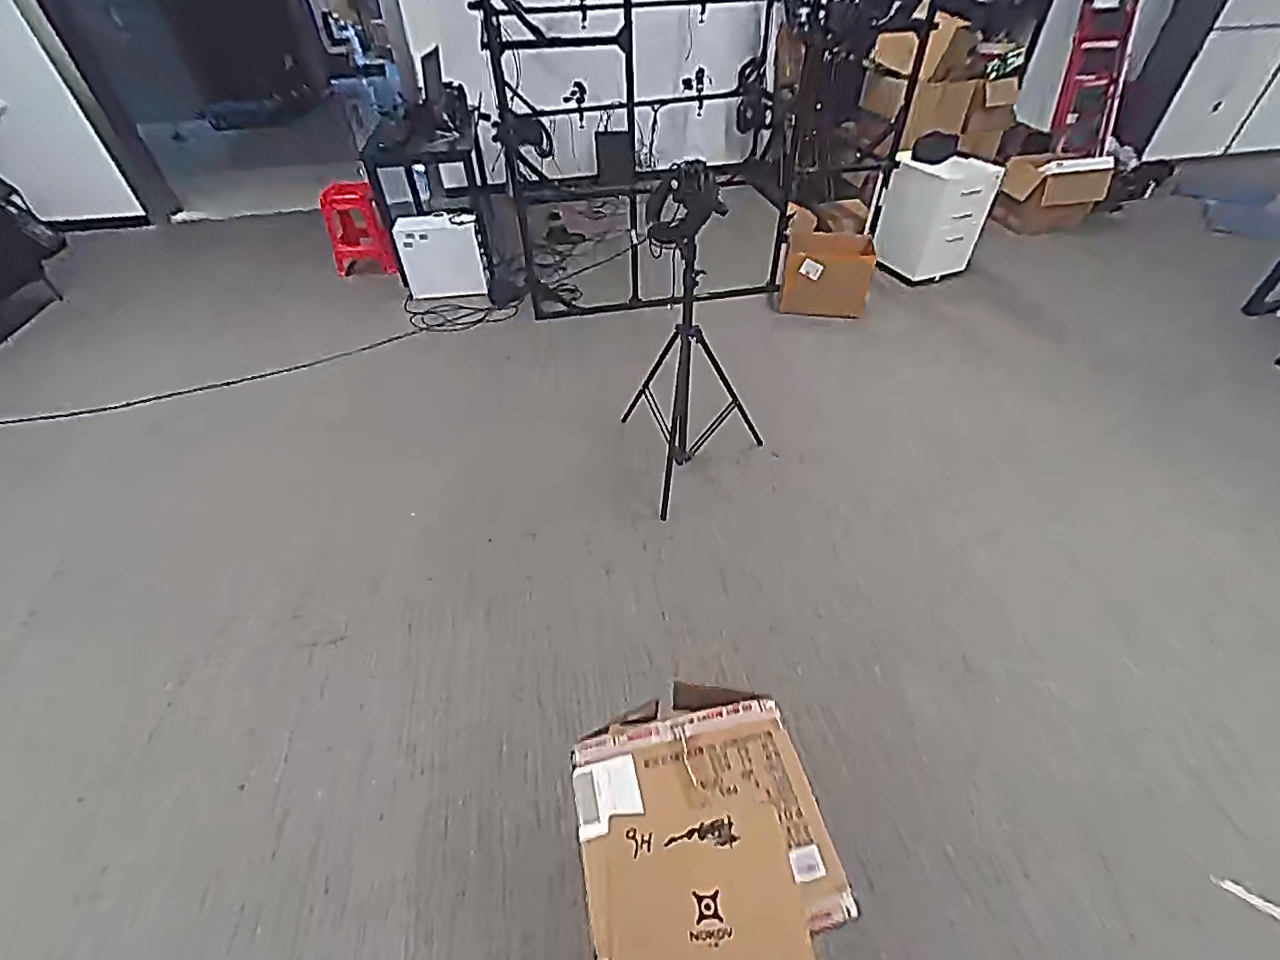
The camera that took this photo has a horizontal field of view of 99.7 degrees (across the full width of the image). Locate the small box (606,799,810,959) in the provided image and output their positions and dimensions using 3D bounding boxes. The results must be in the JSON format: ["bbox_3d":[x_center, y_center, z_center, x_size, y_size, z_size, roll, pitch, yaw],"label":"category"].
[{"bbox_3d":[0.053,0.430,0.503,0.168,0.176,0.179,-1,37,-4],"label":"small box"}]
